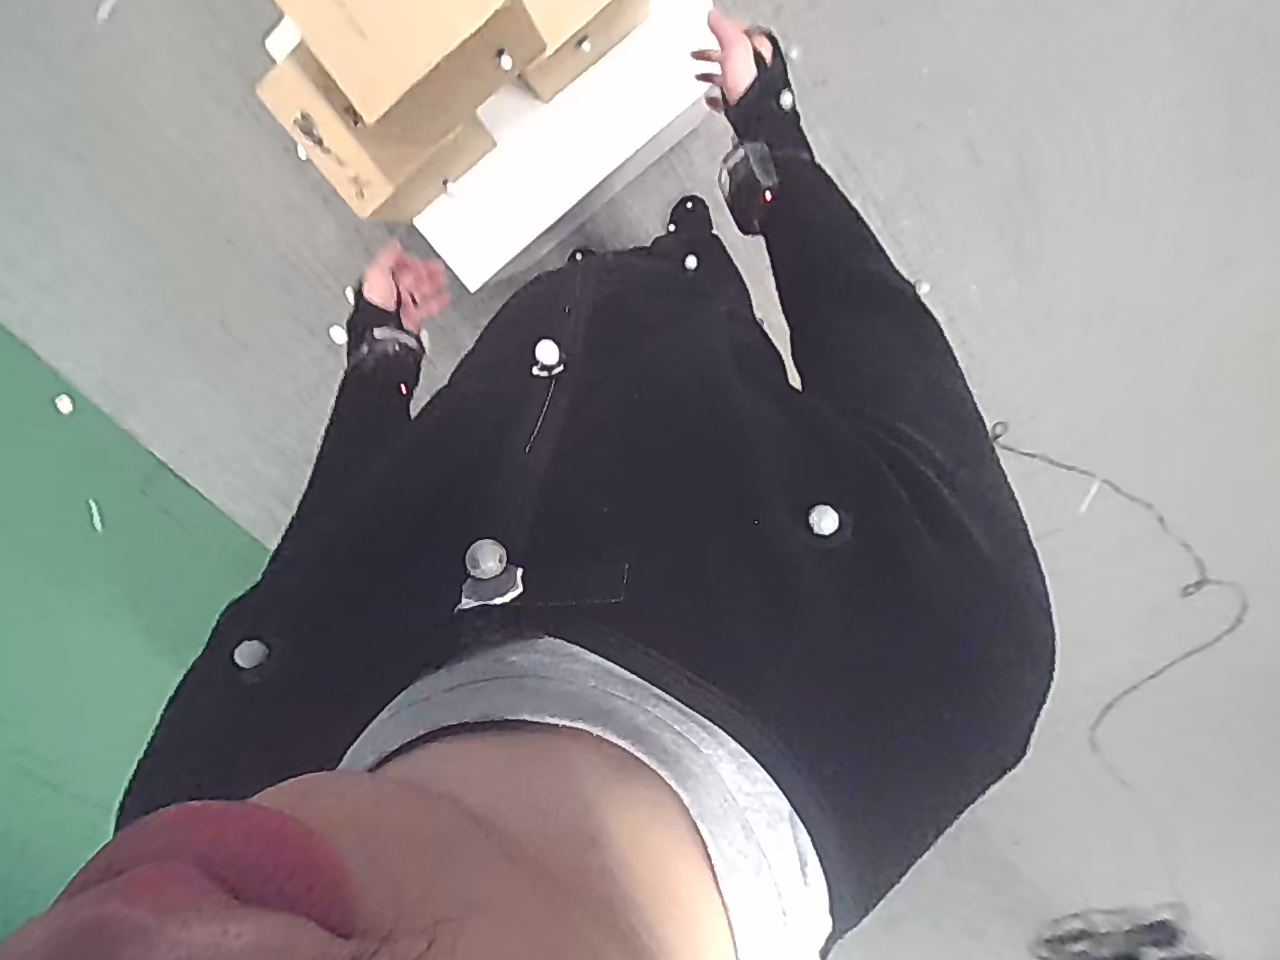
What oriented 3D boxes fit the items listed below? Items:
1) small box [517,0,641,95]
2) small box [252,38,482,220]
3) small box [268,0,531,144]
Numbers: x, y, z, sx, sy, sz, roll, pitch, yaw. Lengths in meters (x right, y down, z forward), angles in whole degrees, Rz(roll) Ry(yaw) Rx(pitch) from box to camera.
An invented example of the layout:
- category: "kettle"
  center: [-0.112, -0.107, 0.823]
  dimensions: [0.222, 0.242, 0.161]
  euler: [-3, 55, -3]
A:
- category: "small box"
  center: [-0.107, -0.588, 0.621]
  dimensions: [0.179, 0.176, 0.168]
  euler: [-32, 112, 14]
- category: "small box"
  center: [-0.322, -0.458, 0.685]
  dimensions: [0.179, 0.176, 0.168]
  euler: [-34, 111, 13]
- category: "small box"
  center: [-0.220, -0.454, 0.506]
  dimensions: [0.179, 0.176, 0.168]
  euler: [-32, 110, 15]
